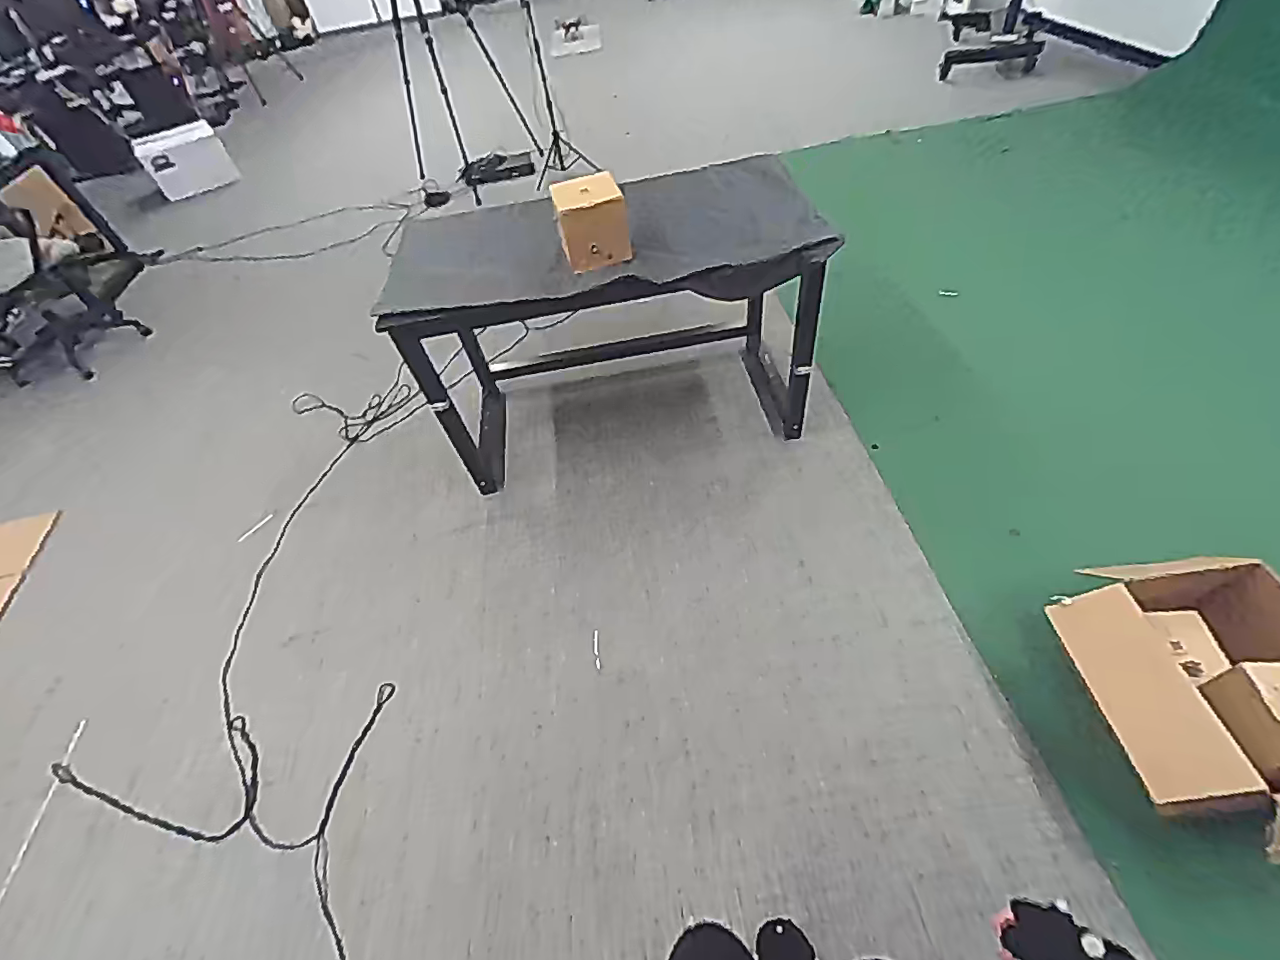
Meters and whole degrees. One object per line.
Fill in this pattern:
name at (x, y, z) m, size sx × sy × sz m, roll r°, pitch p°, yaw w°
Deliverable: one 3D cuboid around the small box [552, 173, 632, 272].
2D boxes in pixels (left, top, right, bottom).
small box at (-0.126, -0.682, 1.435) m, size 0.168 × 0.176 × 0.179 m, roll -16°, pitch 51°, yaw -4°
